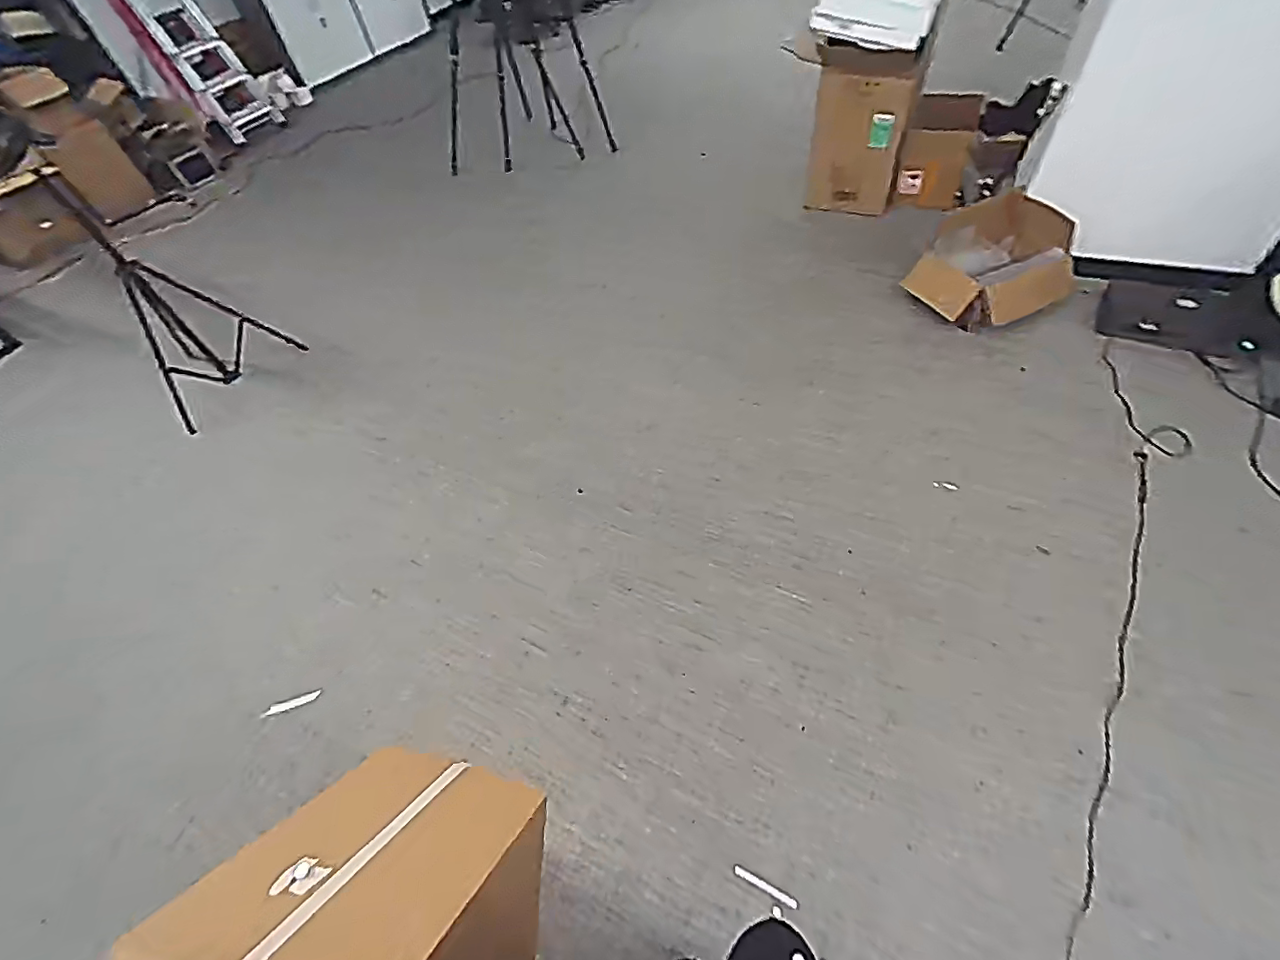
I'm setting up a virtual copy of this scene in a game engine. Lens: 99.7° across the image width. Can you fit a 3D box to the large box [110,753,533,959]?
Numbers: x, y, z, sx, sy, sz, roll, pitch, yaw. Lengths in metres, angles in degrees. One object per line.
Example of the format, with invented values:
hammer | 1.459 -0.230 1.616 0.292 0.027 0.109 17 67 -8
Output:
large box | -0.380 0.659 0.735 0.320 0.408 0.320 6 96 16
